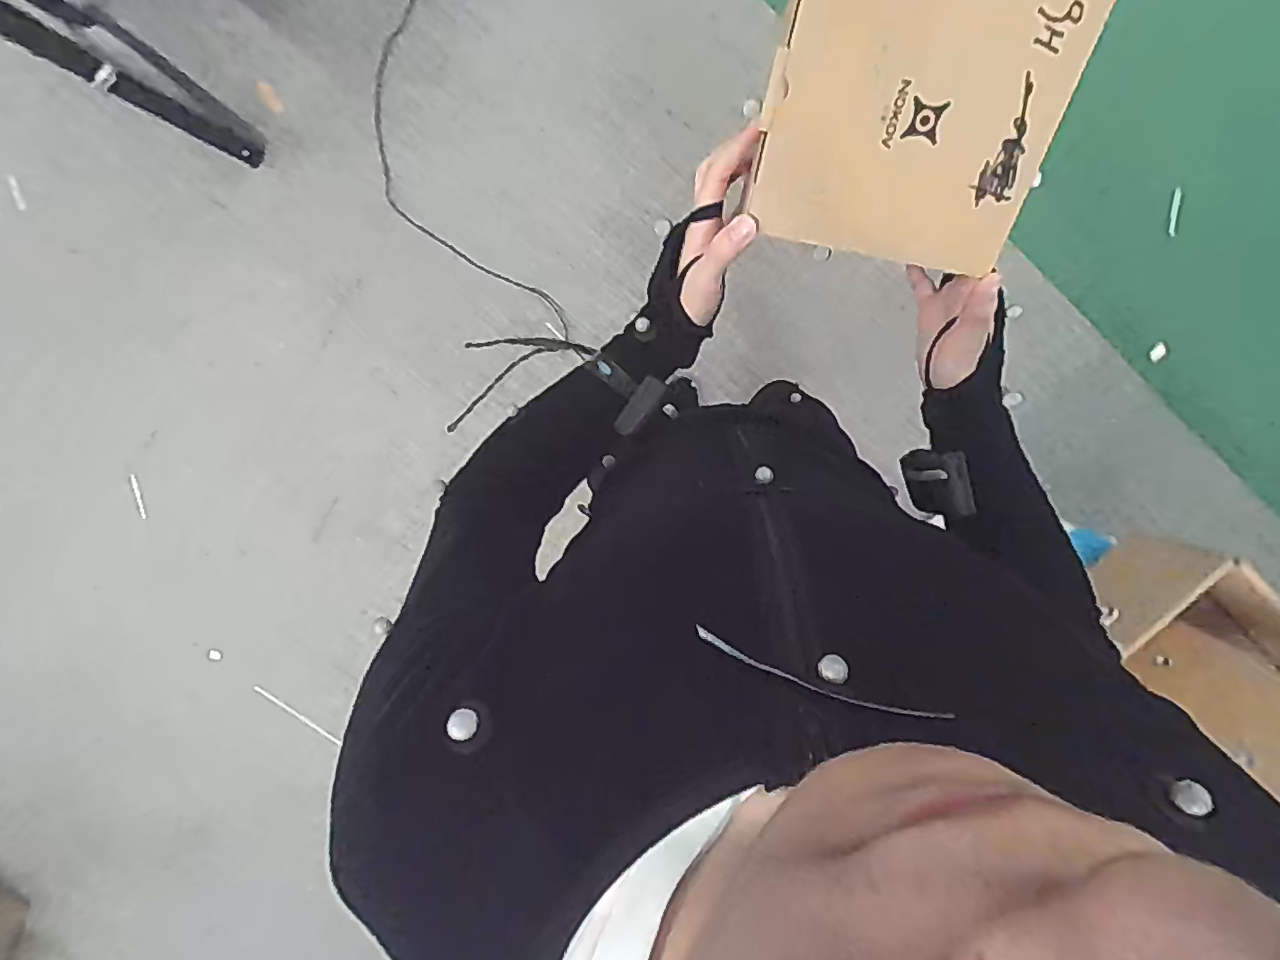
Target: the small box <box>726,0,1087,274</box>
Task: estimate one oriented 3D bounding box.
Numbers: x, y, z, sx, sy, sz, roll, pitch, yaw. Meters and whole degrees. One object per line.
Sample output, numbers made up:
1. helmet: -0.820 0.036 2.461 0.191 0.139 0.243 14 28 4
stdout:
1. small box: 0.171 -0.266 0.414 0.179 0.176 0.168 12 118 4
